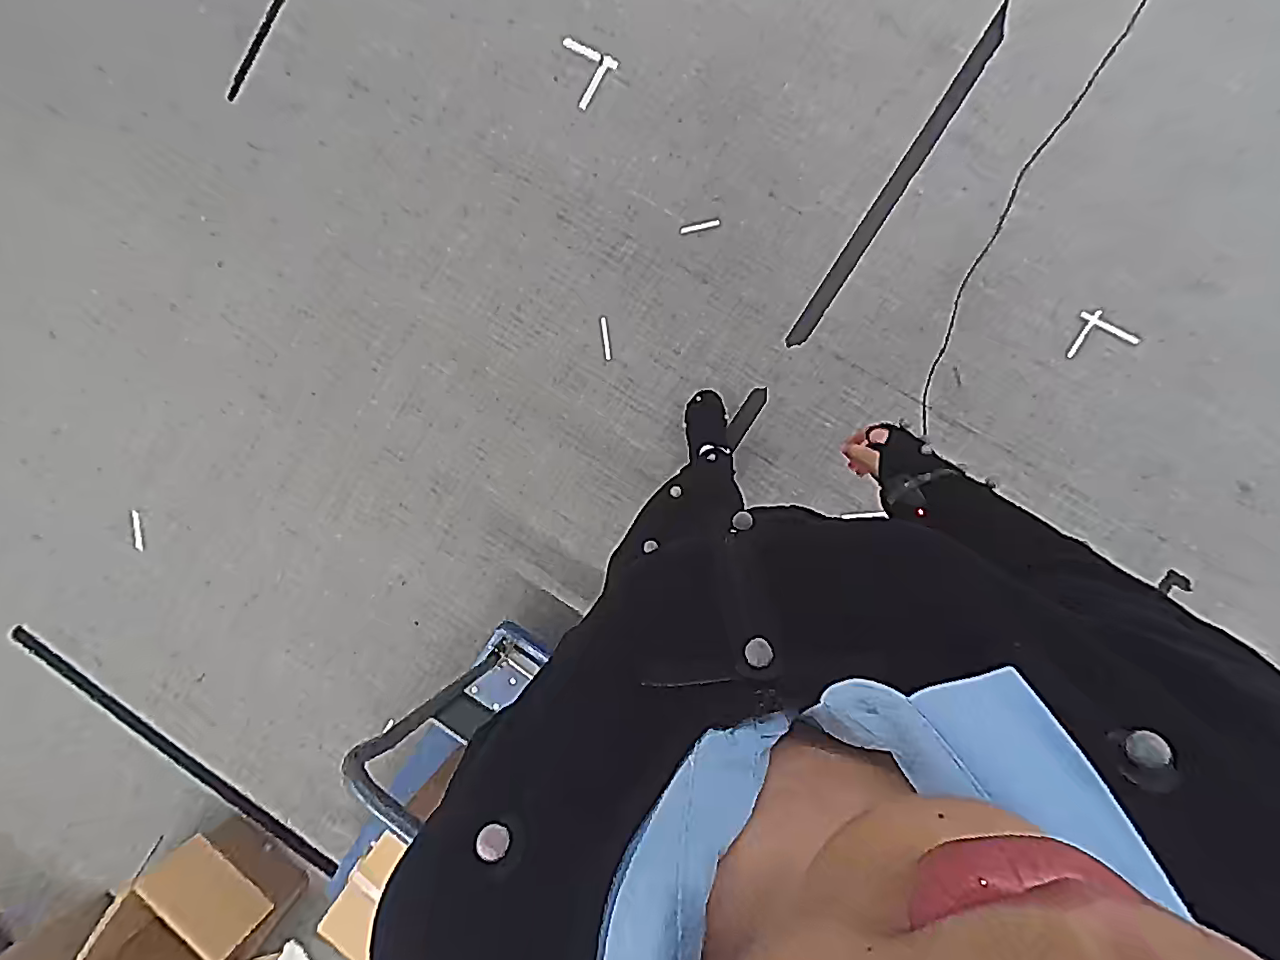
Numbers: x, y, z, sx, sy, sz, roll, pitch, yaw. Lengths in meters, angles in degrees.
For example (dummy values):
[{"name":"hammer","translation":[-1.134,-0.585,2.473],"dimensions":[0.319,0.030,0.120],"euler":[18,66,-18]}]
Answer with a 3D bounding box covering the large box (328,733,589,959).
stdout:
[{"name":"large box","translation":[-0.384,0.876,1.237],"dimensions":[0.408,0.320,0.320],"euler":[35,94,4]}]
